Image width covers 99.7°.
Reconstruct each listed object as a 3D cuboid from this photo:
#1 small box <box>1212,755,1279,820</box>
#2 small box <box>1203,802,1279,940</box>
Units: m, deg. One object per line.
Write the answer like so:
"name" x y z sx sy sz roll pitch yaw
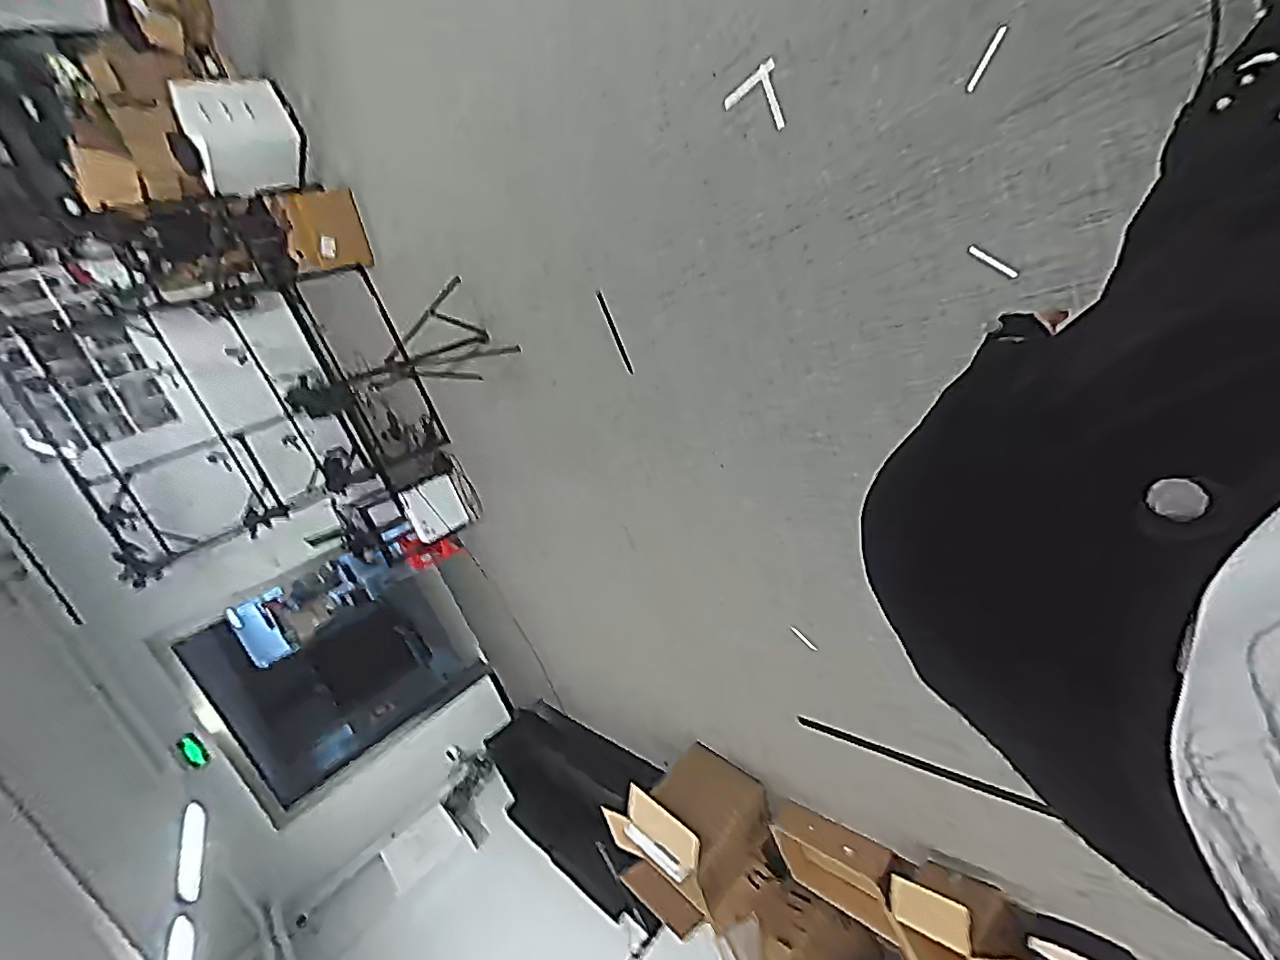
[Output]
"small box" 1.477 0.789 1.269 0.168 0.176 0.179 -5 111 54
"small box" 1.358 0.854 1.173 0.168 0.176 0.179 -3 113 53
